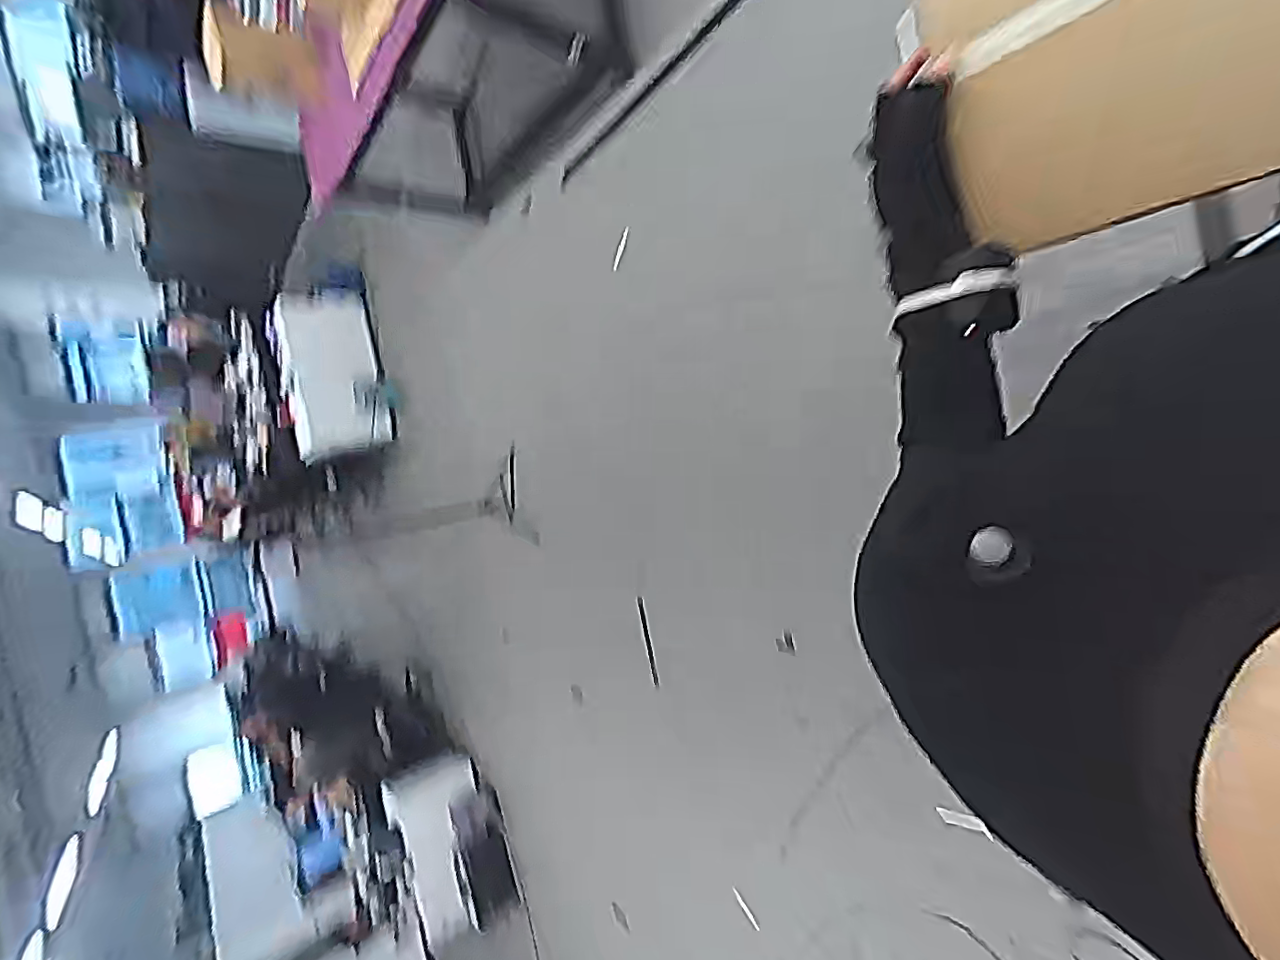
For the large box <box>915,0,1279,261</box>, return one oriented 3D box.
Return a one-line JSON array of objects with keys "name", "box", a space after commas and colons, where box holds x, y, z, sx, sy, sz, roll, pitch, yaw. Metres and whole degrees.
[{"name": "large box", "box": [0.484, -0.410, 0.428, 0.408, 0.320, 0.320, -9, 105, 44]}]
